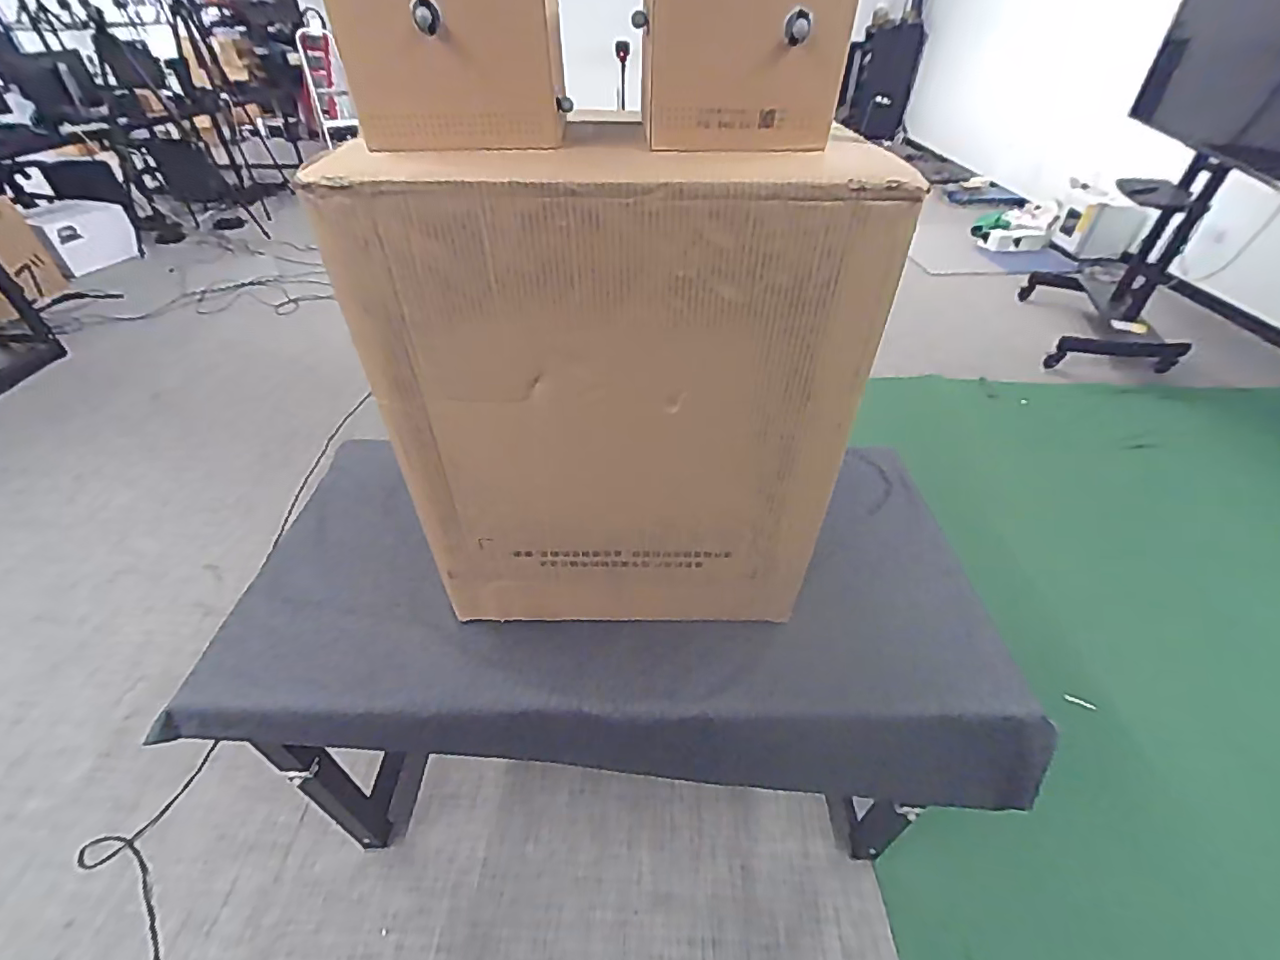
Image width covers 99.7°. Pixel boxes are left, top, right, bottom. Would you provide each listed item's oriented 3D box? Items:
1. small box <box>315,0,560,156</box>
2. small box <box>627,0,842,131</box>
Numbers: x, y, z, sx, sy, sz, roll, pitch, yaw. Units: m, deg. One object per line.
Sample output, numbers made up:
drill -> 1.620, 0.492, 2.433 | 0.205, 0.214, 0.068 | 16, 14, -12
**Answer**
small box -> -0.171, -0.415, 0.499 | 0.179, 0.176, 0.168 | -3, 44, -1
small box -> 0.078, -0.433, 0.493 | 0.168, 0.176, 0.179 | -5, 46, -5
